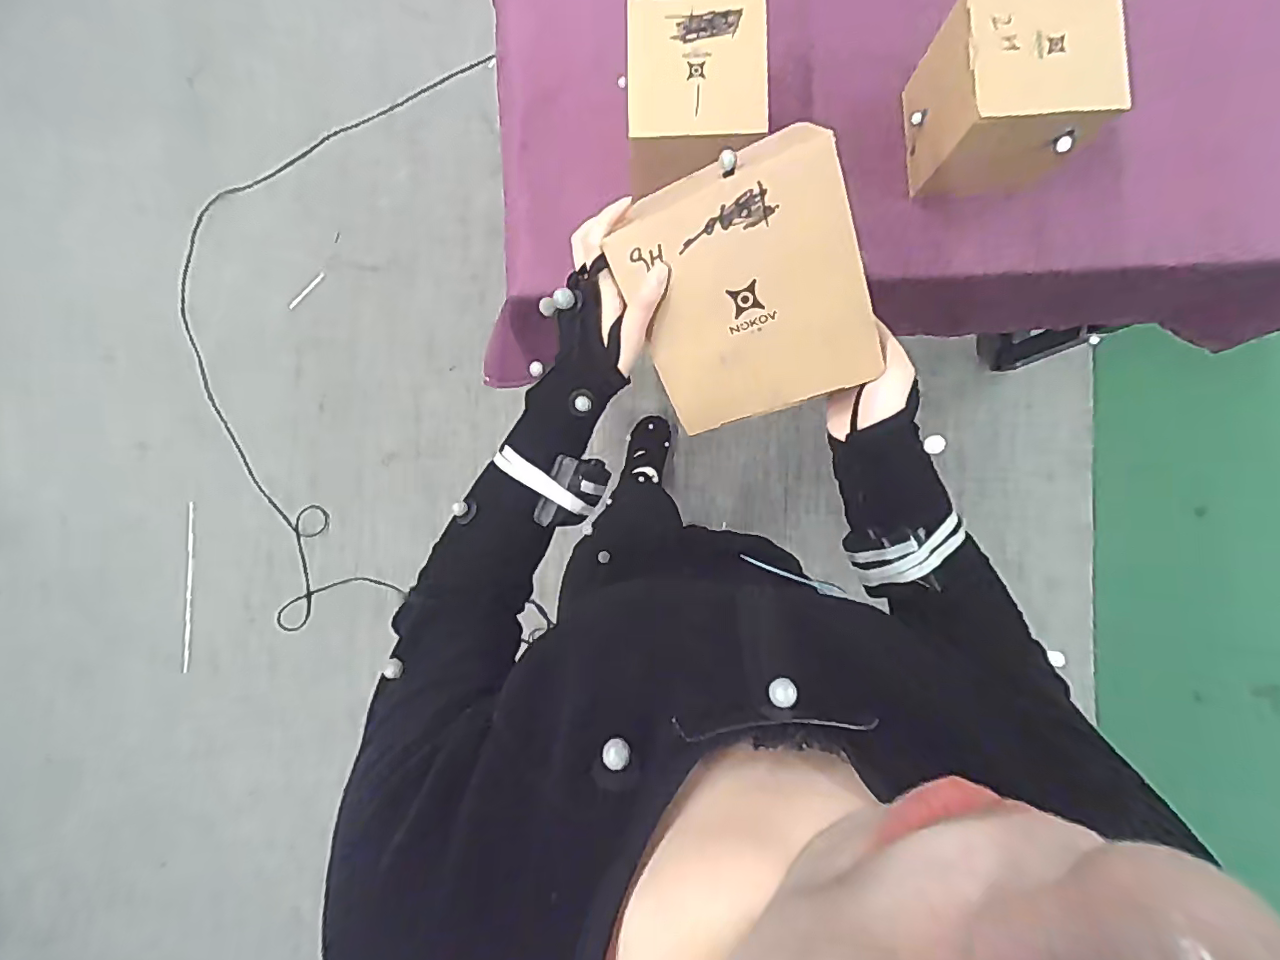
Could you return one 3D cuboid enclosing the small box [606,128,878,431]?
[{"bbox_3d":[0.092,-0.175,0.472,0.168,0.176,0.179,-16,121,20],"label":"small box"}]

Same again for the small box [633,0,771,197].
[{"bbox_3d":[0.075,-0.500,0.719,0.168,0.176,0.179,0,88,3],"label":"small box"}]

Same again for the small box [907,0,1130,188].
[{"bbox_3d":[0.474,-0.506,0.702,0.179,0.176,0.168,-2,87,3],"label":"small box"}]
